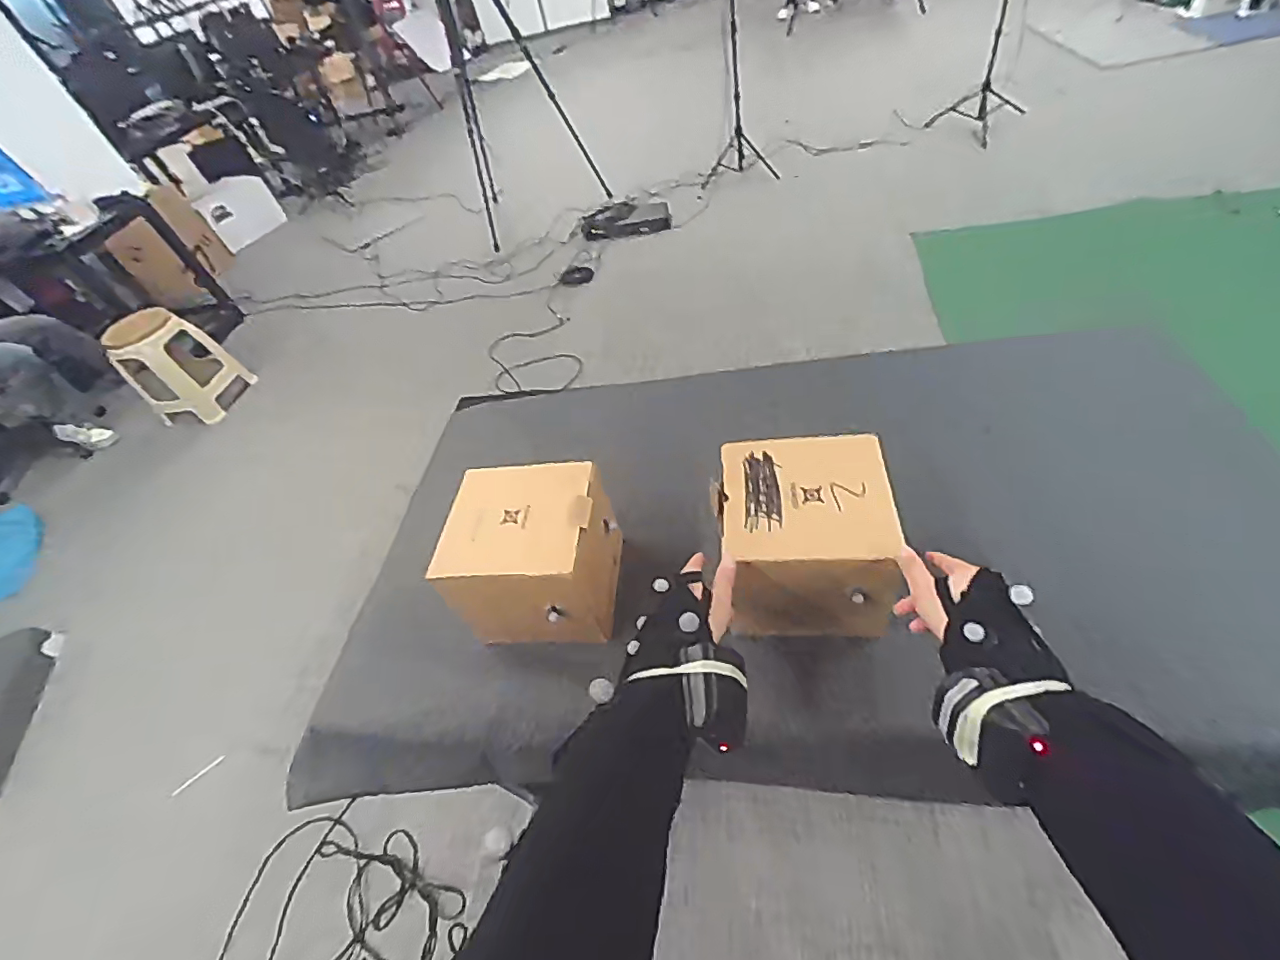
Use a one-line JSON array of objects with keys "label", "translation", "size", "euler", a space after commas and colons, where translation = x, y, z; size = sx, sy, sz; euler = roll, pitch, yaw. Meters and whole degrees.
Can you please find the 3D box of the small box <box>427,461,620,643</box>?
[{"label": "small box", "translation": [-0.130, 0.096, 0.690], "size": [0.179, 0.176, 0.168], "euler": [-4, 47, 12]}]
